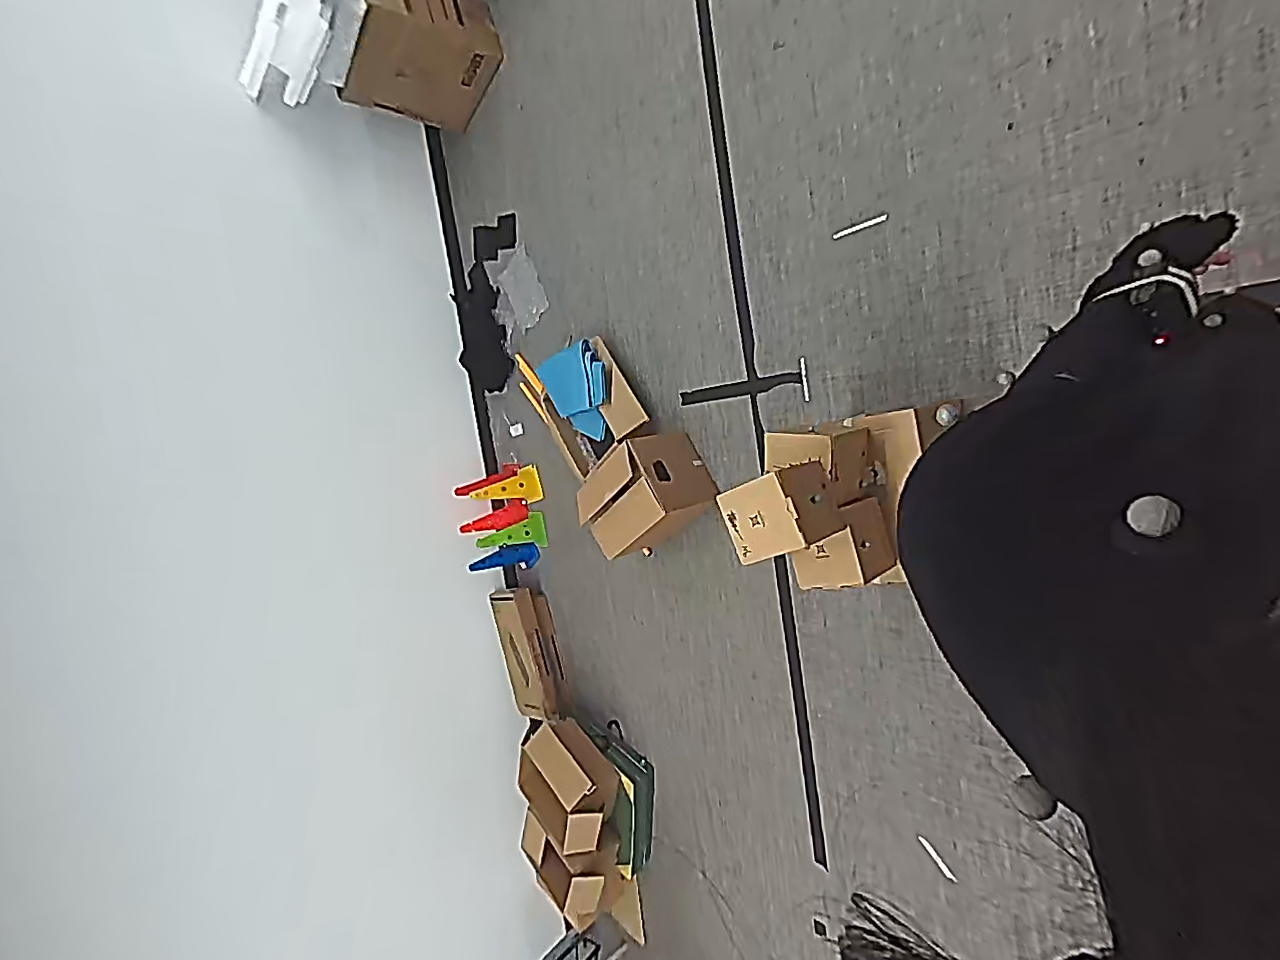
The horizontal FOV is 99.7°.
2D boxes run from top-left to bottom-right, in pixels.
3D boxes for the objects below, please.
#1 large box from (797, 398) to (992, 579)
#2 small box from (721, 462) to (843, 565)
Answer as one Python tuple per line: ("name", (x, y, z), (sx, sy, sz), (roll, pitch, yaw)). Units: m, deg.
("large box", (0.660, 0.024, 1.400), (0.320, 0.320, 0.408), (-10, 91, 48))
("small box", (0.316, 0.070, 1.178), (0.179, 0.176, 0.168), (-29, 78, 47))
